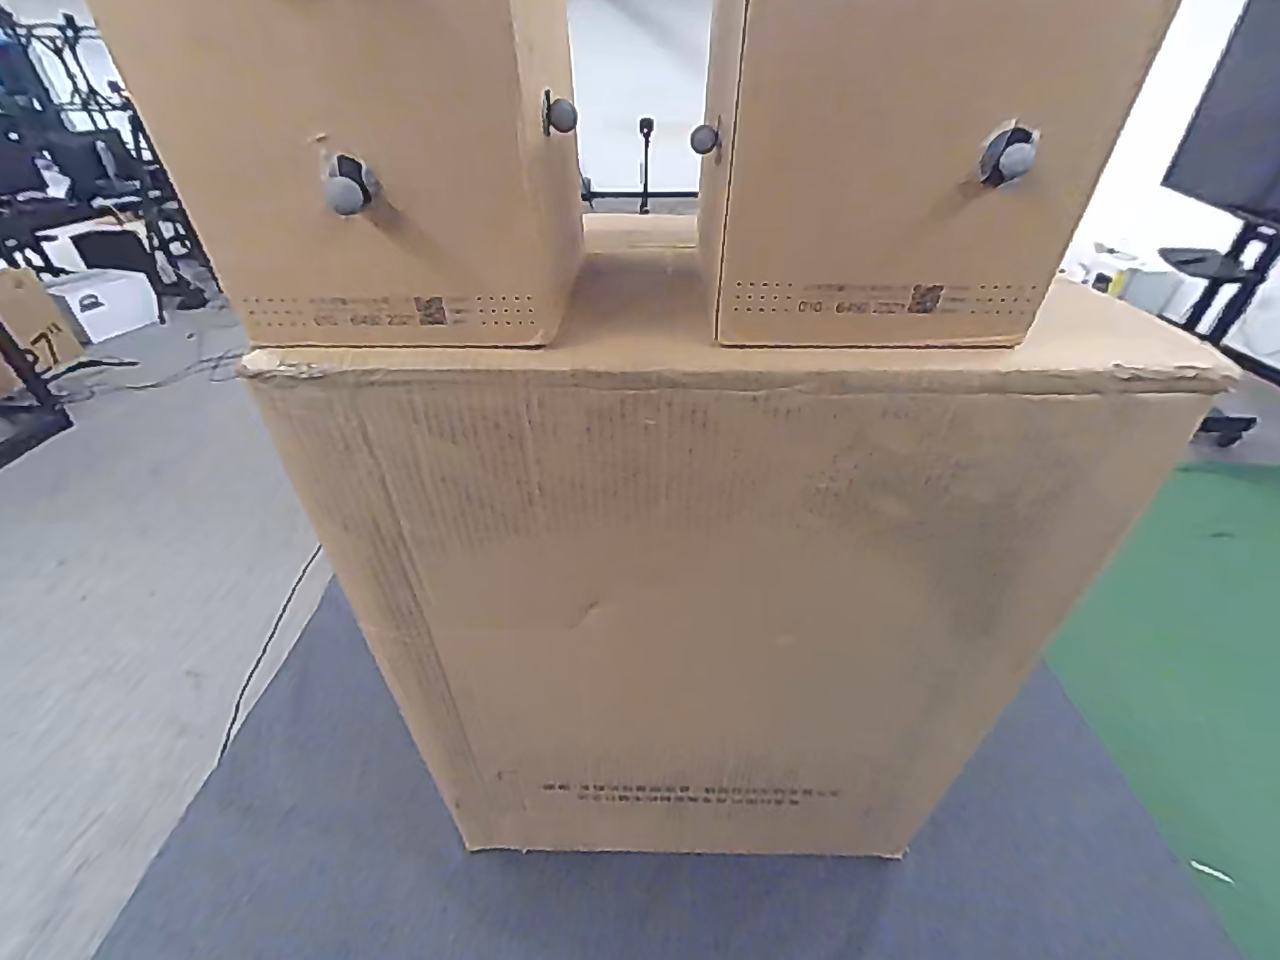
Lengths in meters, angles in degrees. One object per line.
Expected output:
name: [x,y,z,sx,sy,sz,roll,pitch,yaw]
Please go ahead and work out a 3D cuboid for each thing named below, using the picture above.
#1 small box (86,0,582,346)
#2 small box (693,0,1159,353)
small box: [-0.127,-0.188,0.310,0.168,0.176,0.179,1,39,2]
small box: [0.121,-0.182,0.305,0.168,0.176,0.179,2,37,0]
